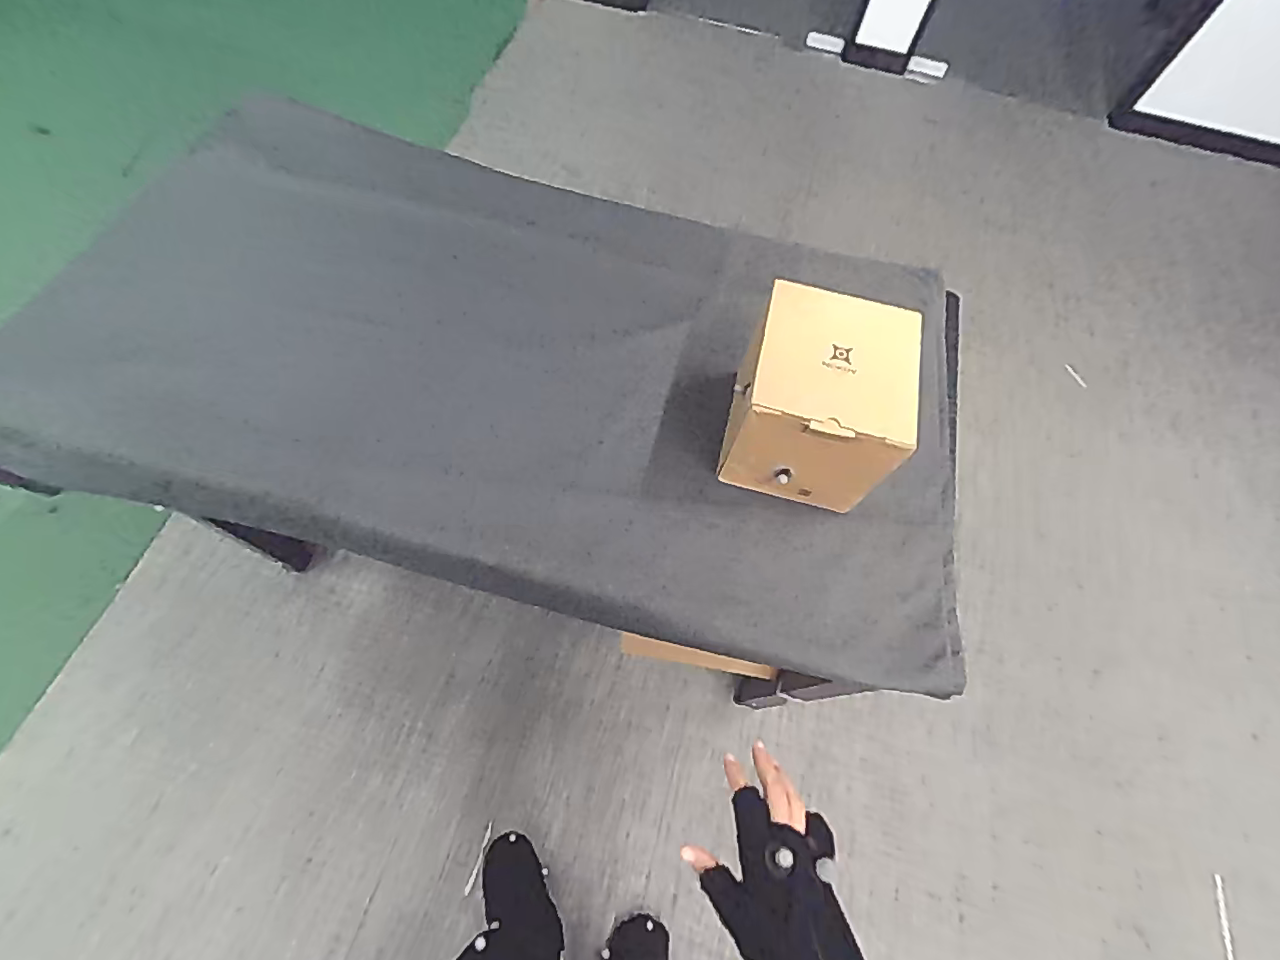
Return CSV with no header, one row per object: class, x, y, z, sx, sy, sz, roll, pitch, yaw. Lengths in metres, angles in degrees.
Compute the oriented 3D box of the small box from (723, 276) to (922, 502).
small box,0.203,-0.098,0.631,0.168,0.176,0.179,14,66,3
